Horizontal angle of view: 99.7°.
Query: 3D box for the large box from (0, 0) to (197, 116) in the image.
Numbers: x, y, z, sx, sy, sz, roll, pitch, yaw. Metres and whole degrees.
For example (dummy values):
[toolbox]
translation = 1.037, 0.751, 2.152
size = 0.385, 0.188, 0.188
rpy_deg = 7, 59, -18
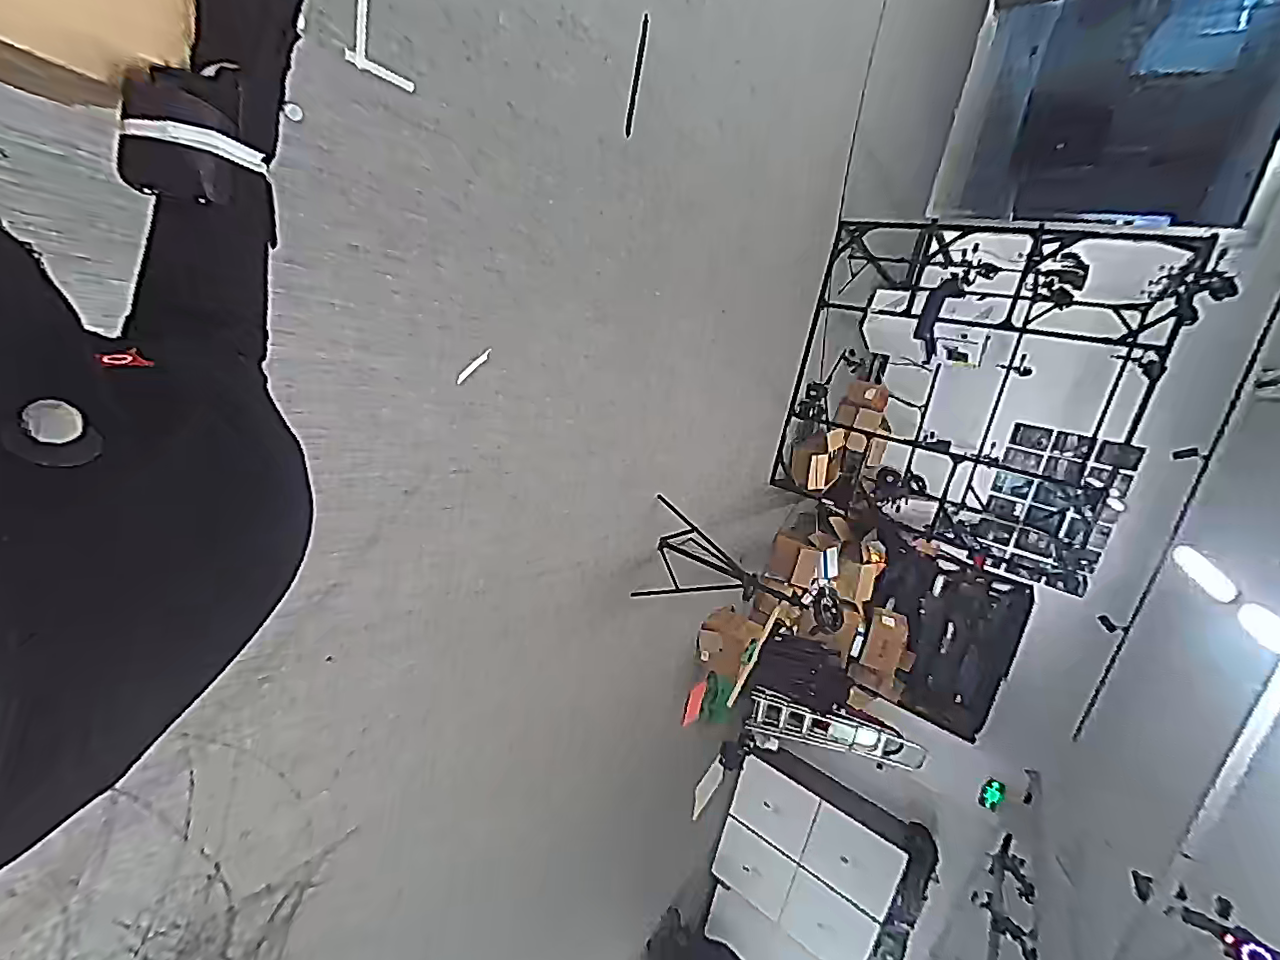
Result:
[large box]
translation = -0.512, -0.445, 0.261
size = 0.408, 0.320, 0.320
rpy_deg = -6, 118, -58
